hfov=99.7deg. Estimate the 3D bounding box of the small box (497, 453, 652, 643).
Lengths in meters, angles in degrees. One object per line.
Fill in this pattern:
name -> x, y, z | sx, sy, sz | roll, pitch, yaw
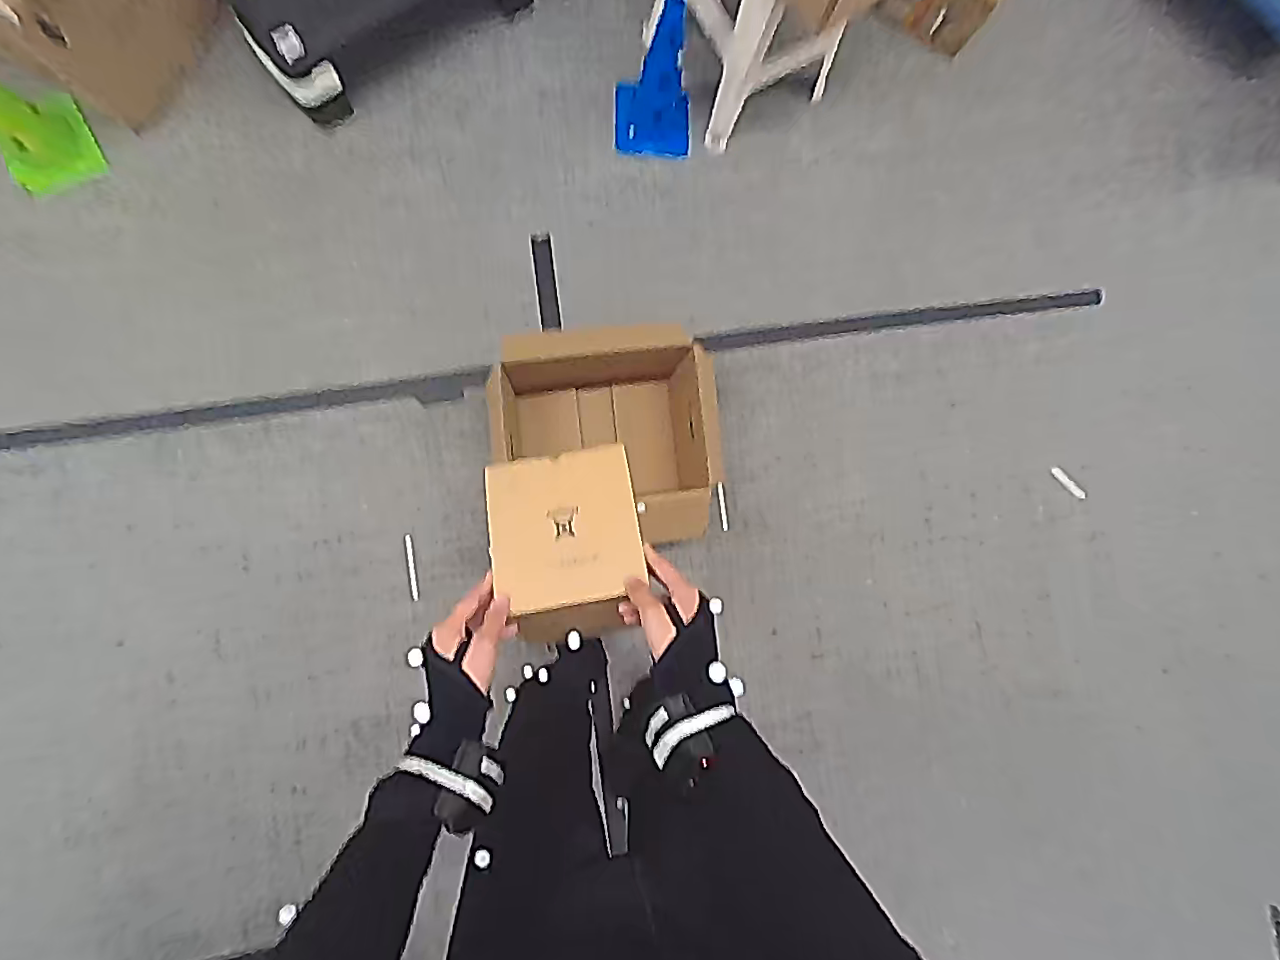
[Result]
small box -> -0.079, 0.091, 0.684 | 0.168, 0.176, 0.179 | -9, 61, -3
